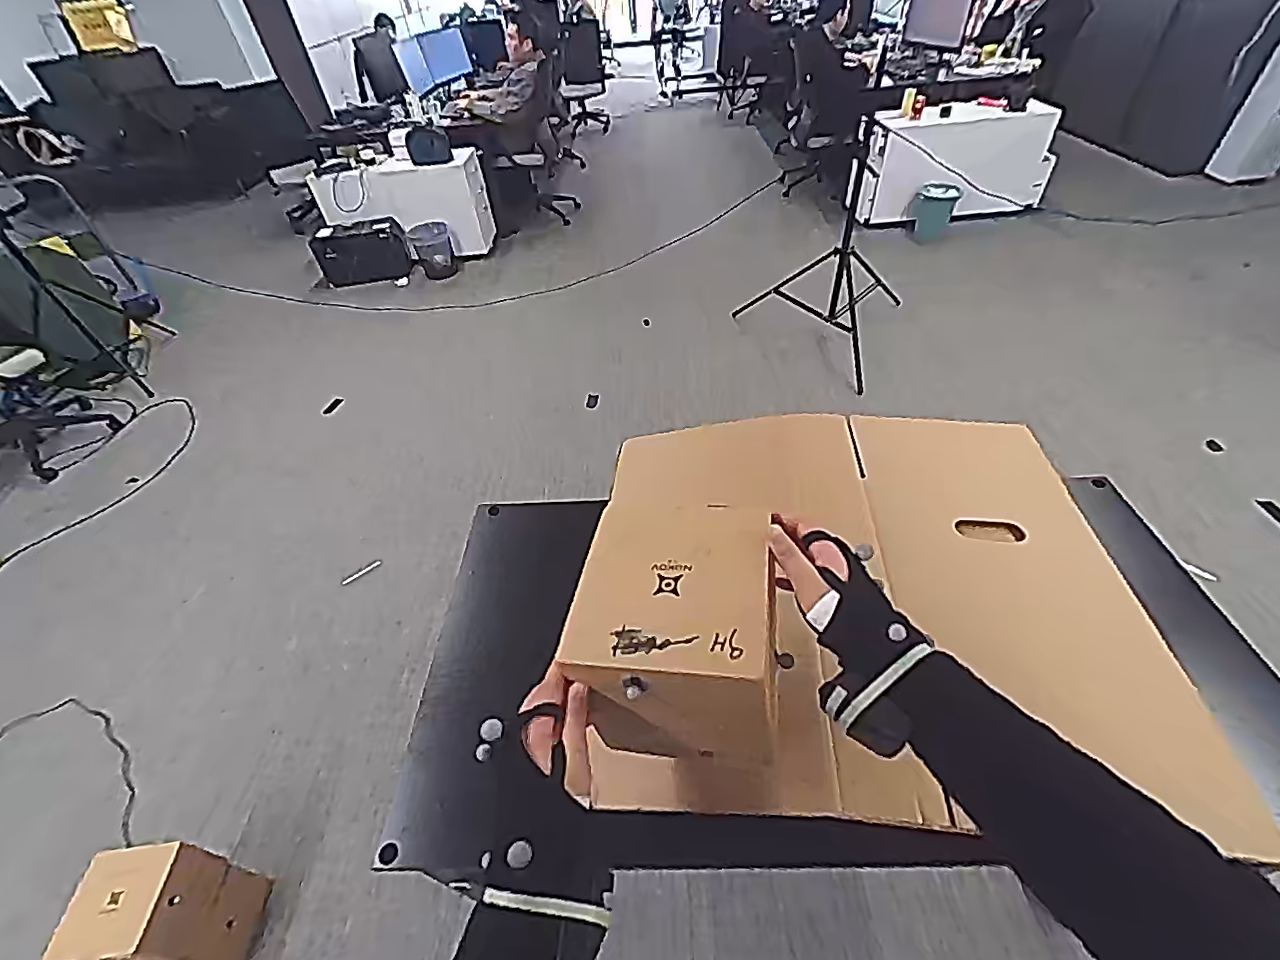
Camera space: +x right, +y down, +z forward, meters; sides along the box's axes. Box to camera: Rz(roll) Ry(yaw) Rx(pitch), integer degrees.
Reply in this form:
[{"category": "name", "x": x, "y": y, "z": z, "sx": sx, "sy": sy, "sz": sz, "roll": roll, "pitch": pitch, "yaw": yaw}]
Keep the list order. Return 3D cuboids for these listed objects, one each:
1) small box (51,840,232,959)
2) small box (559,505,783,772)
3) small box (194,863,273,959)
[{"category": "small box", "x": -0.956, "y": 0.838, "z": 1.061, "sx": 0.168, "sy": 0.176, "sz": 0.179, "roll": -7, "pitch": 43, "yaw": -2}, {"category": "small box", "x": 0.046, "y": 0.143, "z": 0.514, "sx": 0.168, "sy": 0.176, "sz": 0.179, "roll": -1, "pitch": 41, "yaw": 17}, {"category": "small box", "x": -0.942, "y": 0.957, "z": 1.171, "sx": 0.168, "sy": 0.176, "sz": 0.179, "roll": -6, "pitch": 45, "yaw": 1}]
